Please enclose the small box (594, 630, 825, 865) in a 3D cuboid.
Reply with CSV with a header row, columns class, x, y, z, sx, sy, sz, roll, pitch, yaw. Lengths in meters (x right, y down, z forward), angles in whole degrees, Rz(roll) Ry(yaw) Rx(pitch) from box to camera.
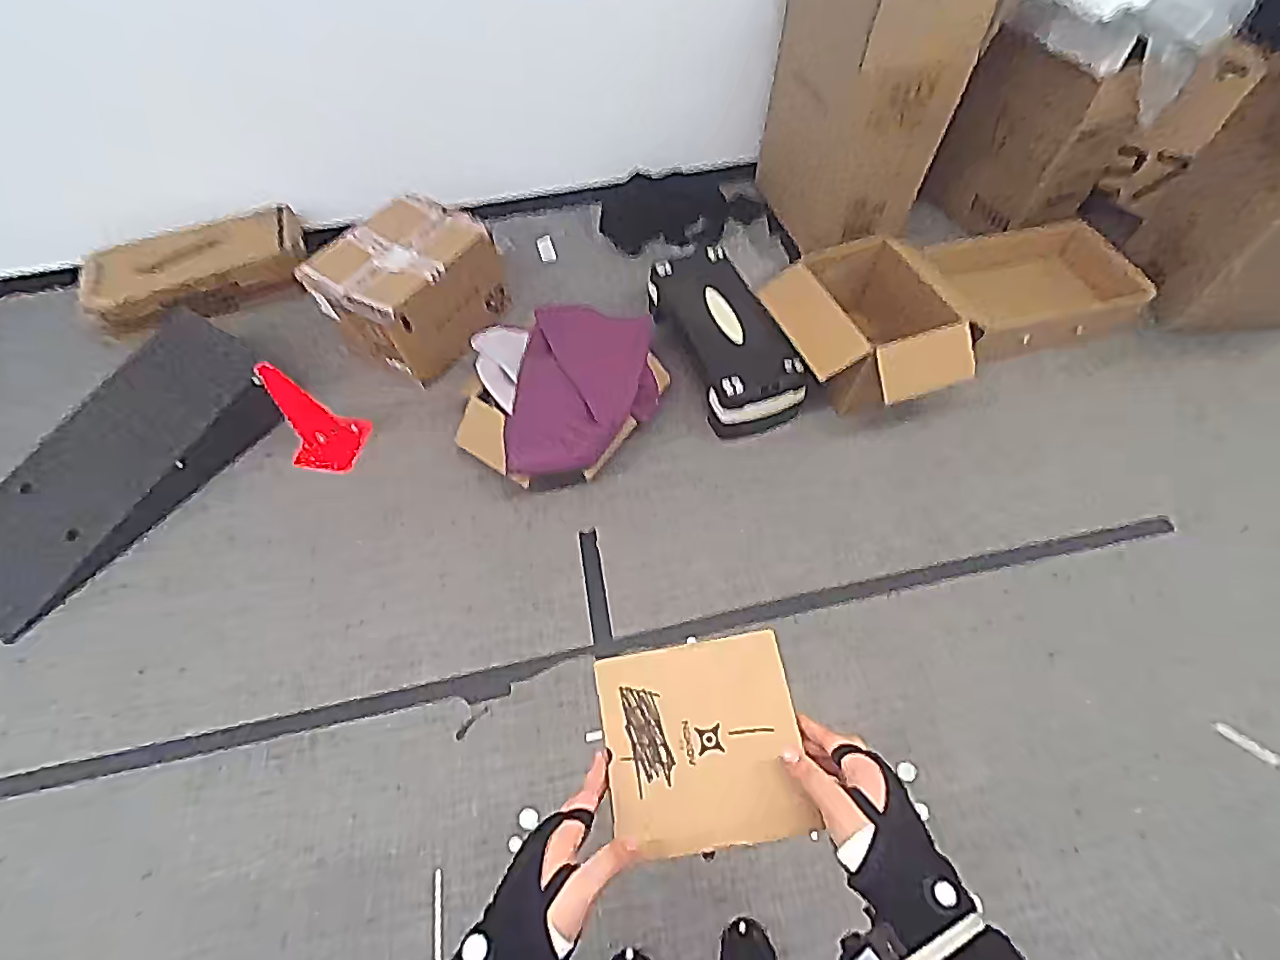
class,x,y,z,sx,sy,sz,roll,pitch,yaw
small box,0.063,0.258,0.538,0.179,0.176,0.168,-11,66,3
